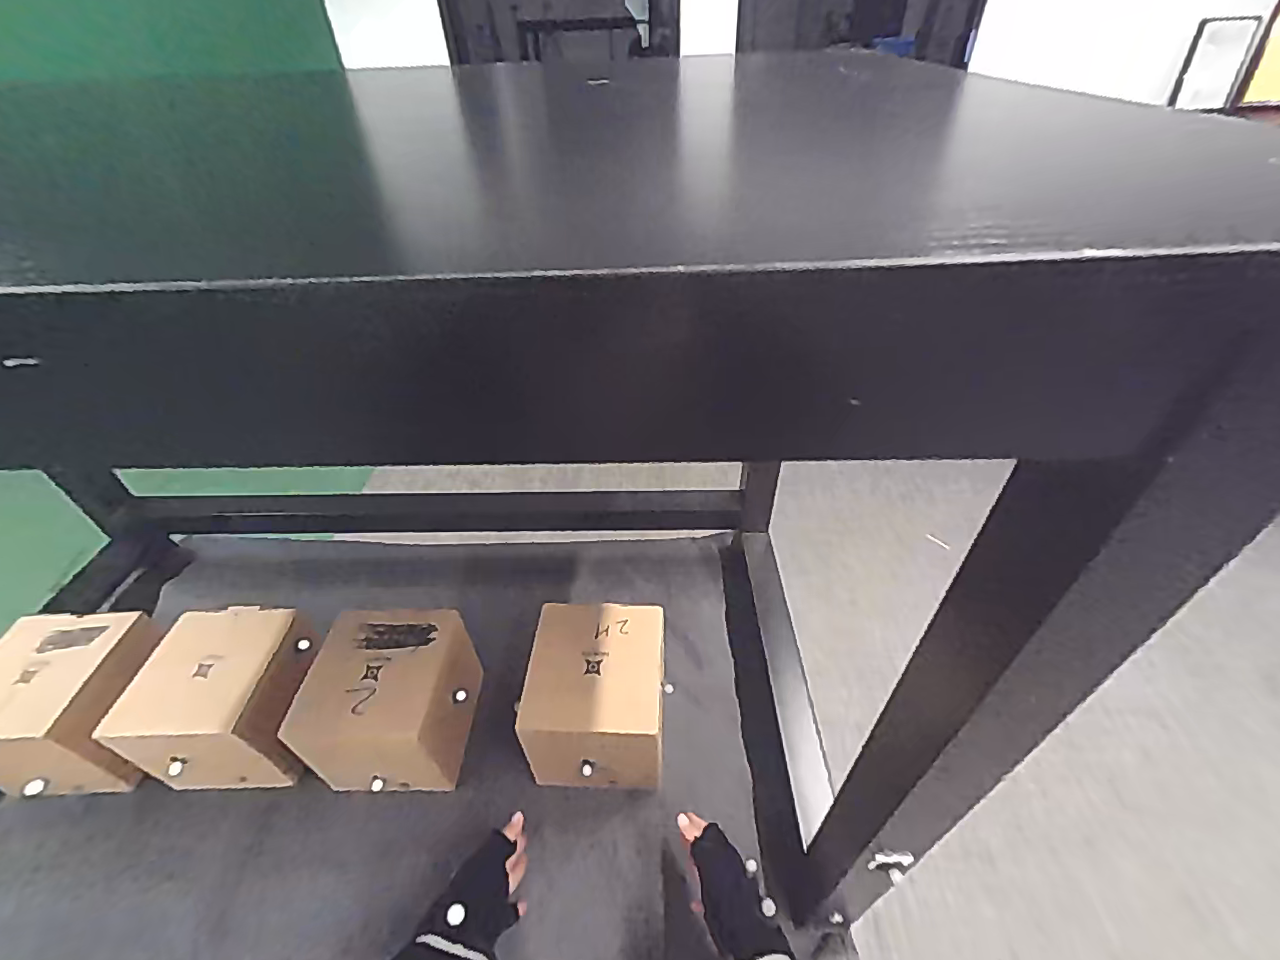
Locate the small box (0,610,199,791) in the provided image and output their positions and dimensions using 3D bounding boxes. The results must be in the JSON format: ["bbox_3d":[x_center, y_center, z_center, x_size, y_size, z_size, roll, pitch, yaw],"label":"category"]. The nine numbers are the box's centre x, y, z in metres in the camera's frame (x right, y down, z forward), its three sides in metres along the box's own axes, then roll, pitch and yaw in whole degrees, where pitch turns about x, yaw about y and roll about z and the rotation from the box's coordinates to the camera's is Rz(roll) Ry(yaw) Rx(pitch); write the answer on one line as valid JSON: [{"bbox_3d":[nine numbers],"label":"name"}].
[{"bbox_3d":[-0.766,0.301,0.745,0.168,0.176,0.179,-3,41,0],"label":"small box"}]

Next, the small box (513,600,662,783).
[{"bbox_3d":[-0.056,0.283,0.724,0.168,0.176,0.179,1,41,4],"label":"small box"}]
